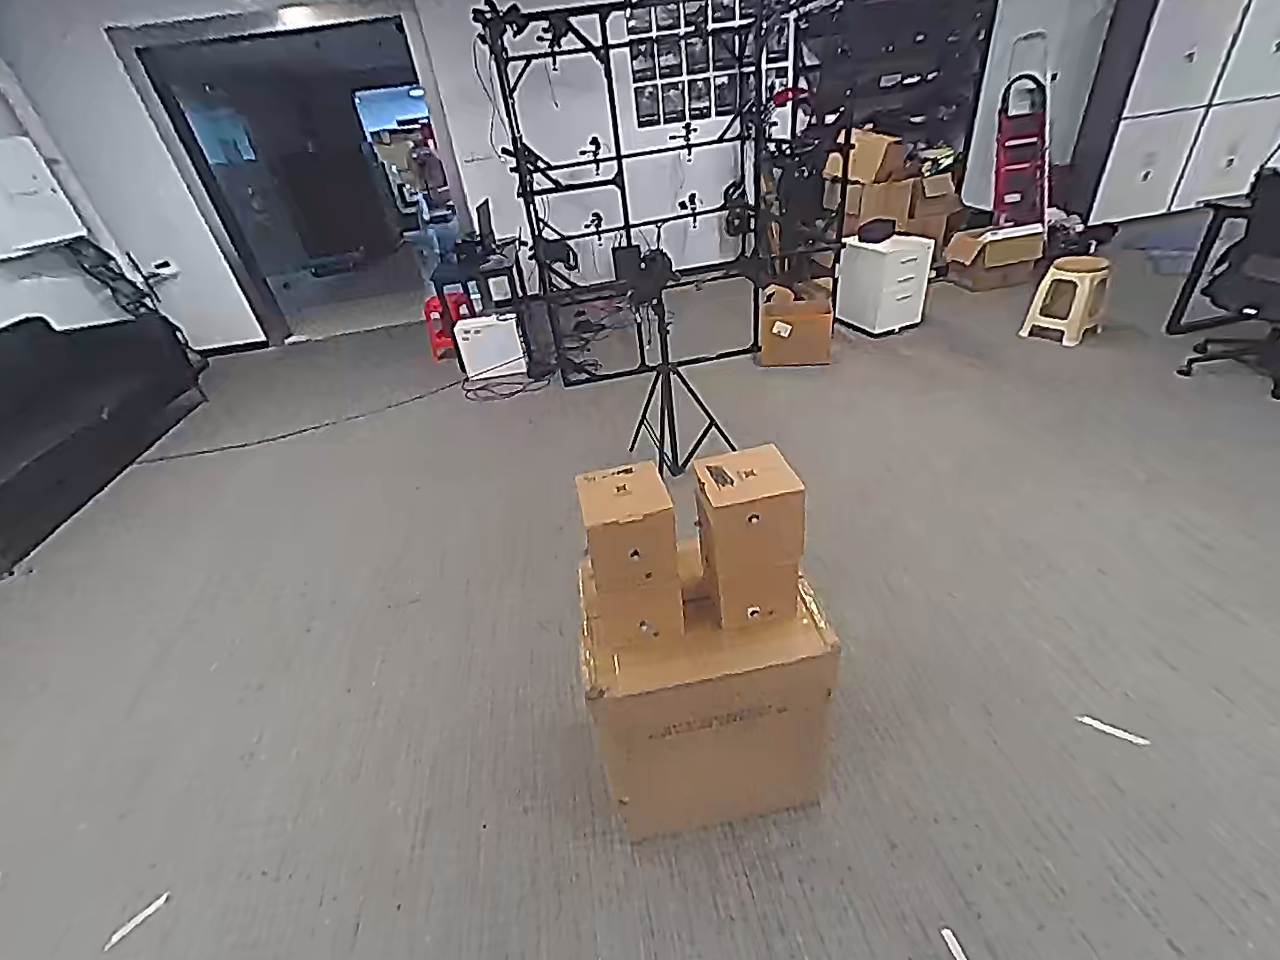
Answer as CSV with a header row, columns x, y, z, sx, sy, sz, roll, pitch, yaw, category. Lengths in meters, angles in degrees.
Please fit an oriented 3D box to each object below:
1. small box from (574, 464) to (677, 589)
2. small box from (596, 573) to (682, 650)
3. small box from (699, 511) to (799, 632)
x,y,z,sx,sy,sz,roll,pitch,yaw,category
-0.028,0.097,1.077,0.168,0.176,0.179,-12,34,-6,small box
-0.009,0.233,1.167,0.168,0.176,0.179,-11,34,-5,small box
0.232,0.197,1.172,0.168,0.176,0.179,-13,35,-3,small box
